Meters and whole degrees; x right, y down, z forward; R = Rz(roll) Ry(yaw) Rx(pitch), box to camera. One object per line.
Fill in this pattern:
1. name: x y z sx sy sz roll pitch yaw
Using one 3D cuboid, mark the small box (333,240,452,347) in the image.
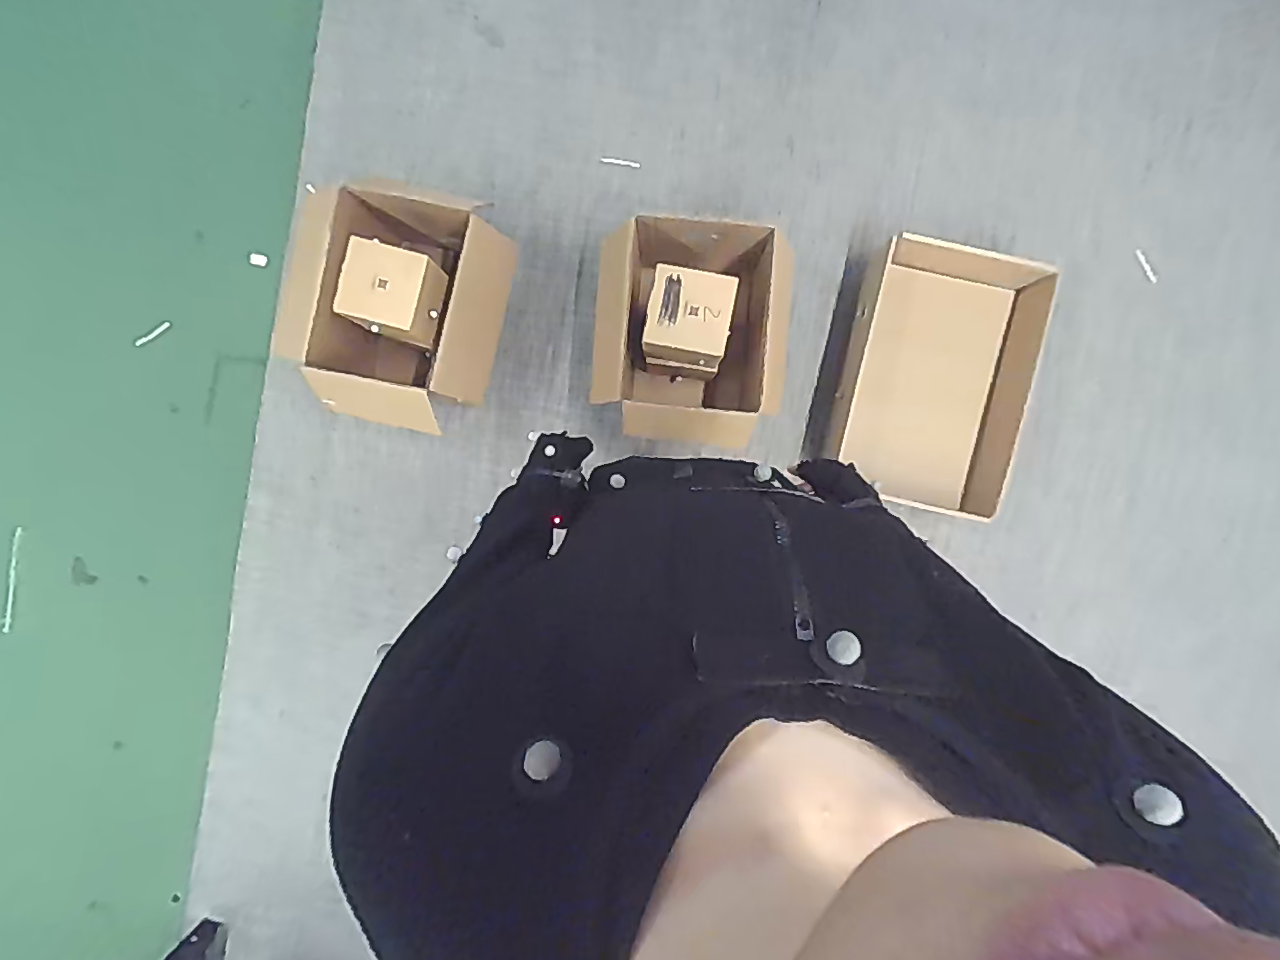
1. small box: -0.550 -0.413 1.228 0.179 0.176 0.168 15 91 1
